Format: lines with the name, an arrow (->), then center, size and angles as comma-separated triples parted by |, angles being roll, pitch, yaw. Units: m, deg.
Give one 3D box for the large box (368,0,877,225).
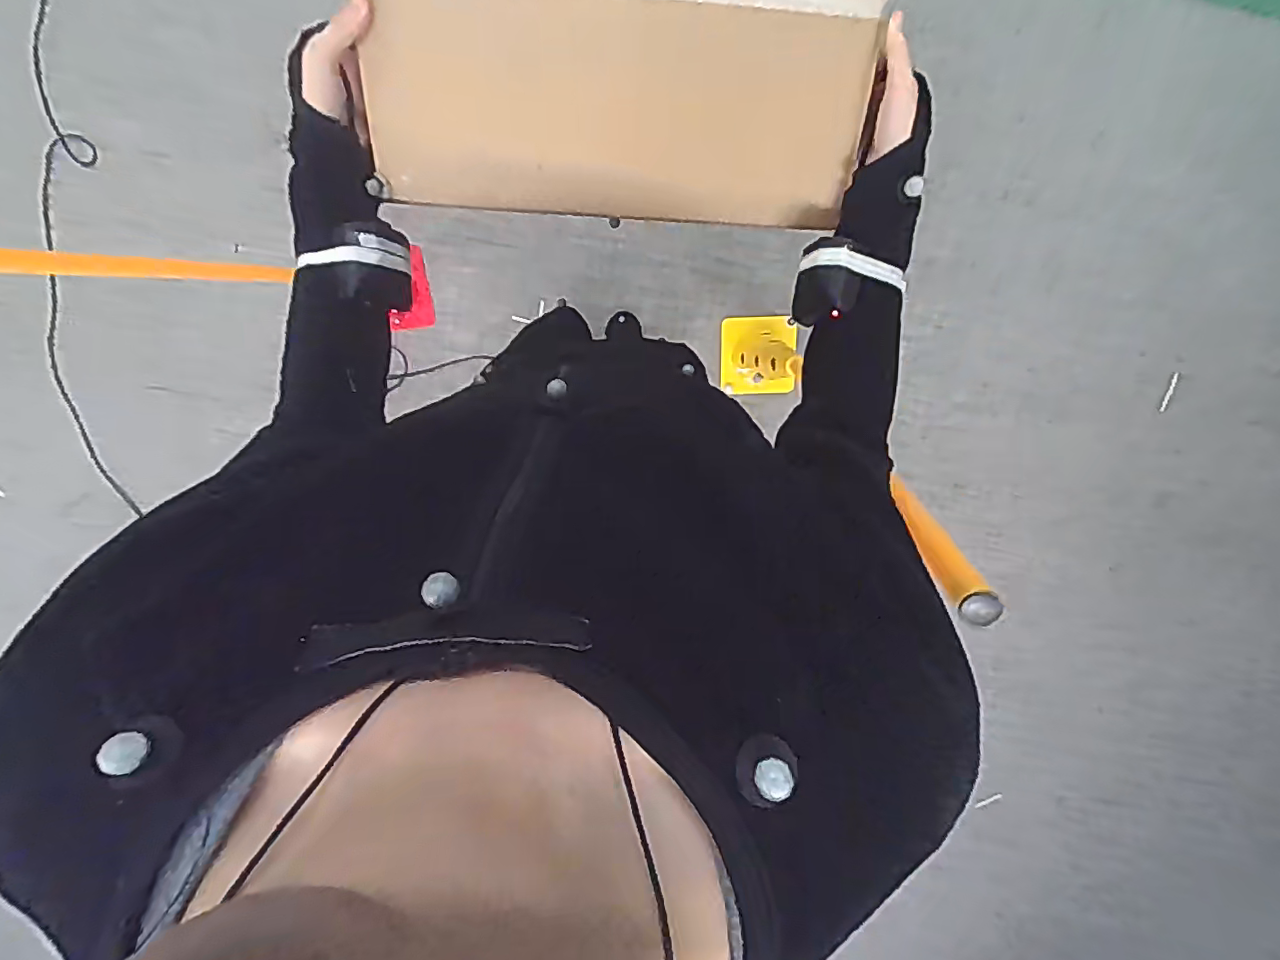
large box -> -0.015, -0.444, 0.548 | 0.408, 0.320, 0.320 | 2, 117, -3
